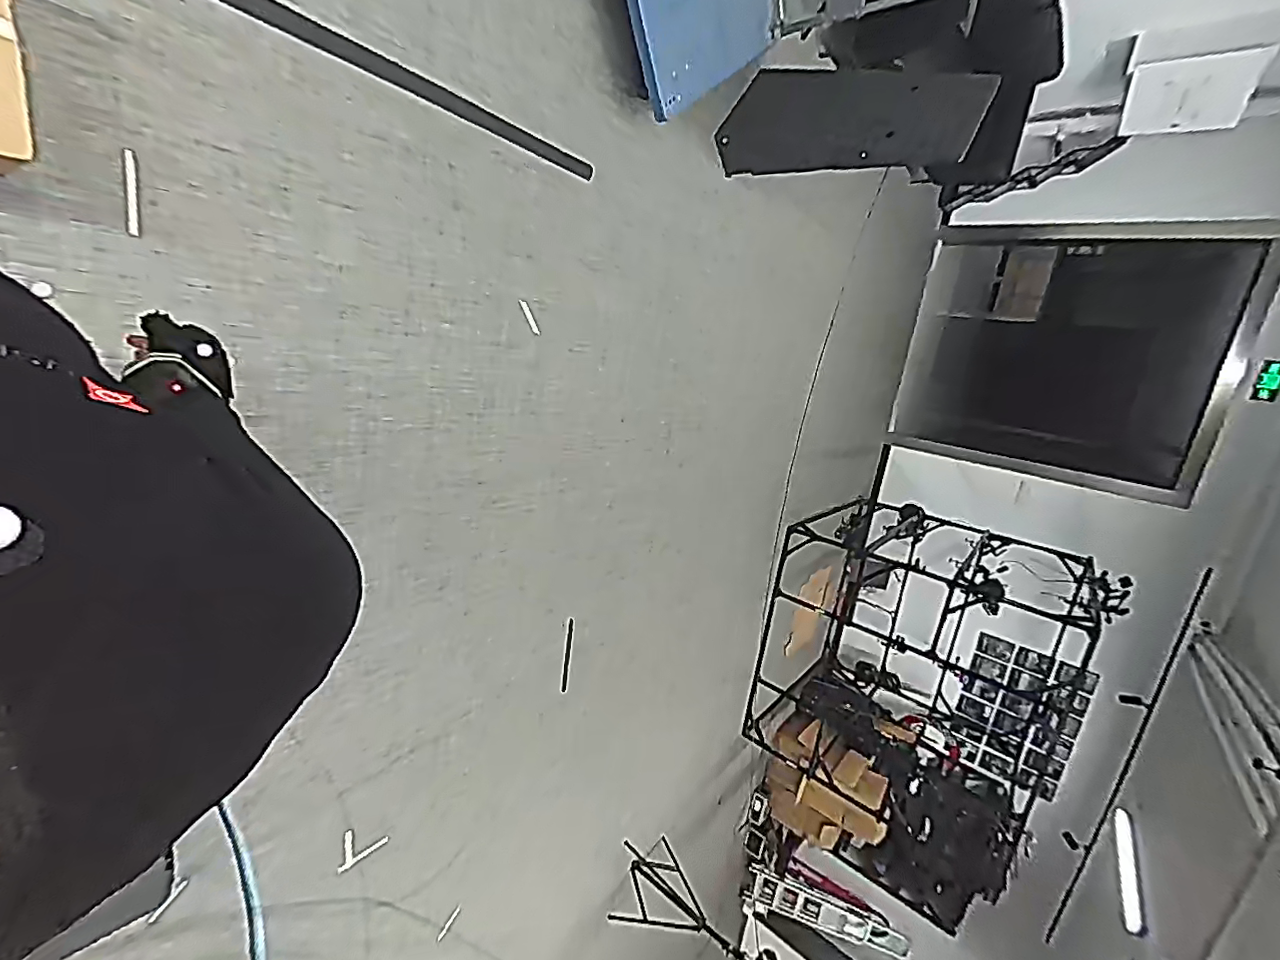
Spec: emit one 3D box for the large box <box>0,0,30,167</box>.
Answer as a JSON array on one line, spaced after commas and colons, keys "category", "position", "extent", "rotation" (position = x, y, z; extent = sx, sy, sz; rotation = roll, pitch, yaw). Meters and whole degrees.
[{"category": "large box", "position": [-1.077, -0.610, 0.647], "extent": [0.408, 0.320, 0.320], "rotation": [-12, 115, -52]}]
